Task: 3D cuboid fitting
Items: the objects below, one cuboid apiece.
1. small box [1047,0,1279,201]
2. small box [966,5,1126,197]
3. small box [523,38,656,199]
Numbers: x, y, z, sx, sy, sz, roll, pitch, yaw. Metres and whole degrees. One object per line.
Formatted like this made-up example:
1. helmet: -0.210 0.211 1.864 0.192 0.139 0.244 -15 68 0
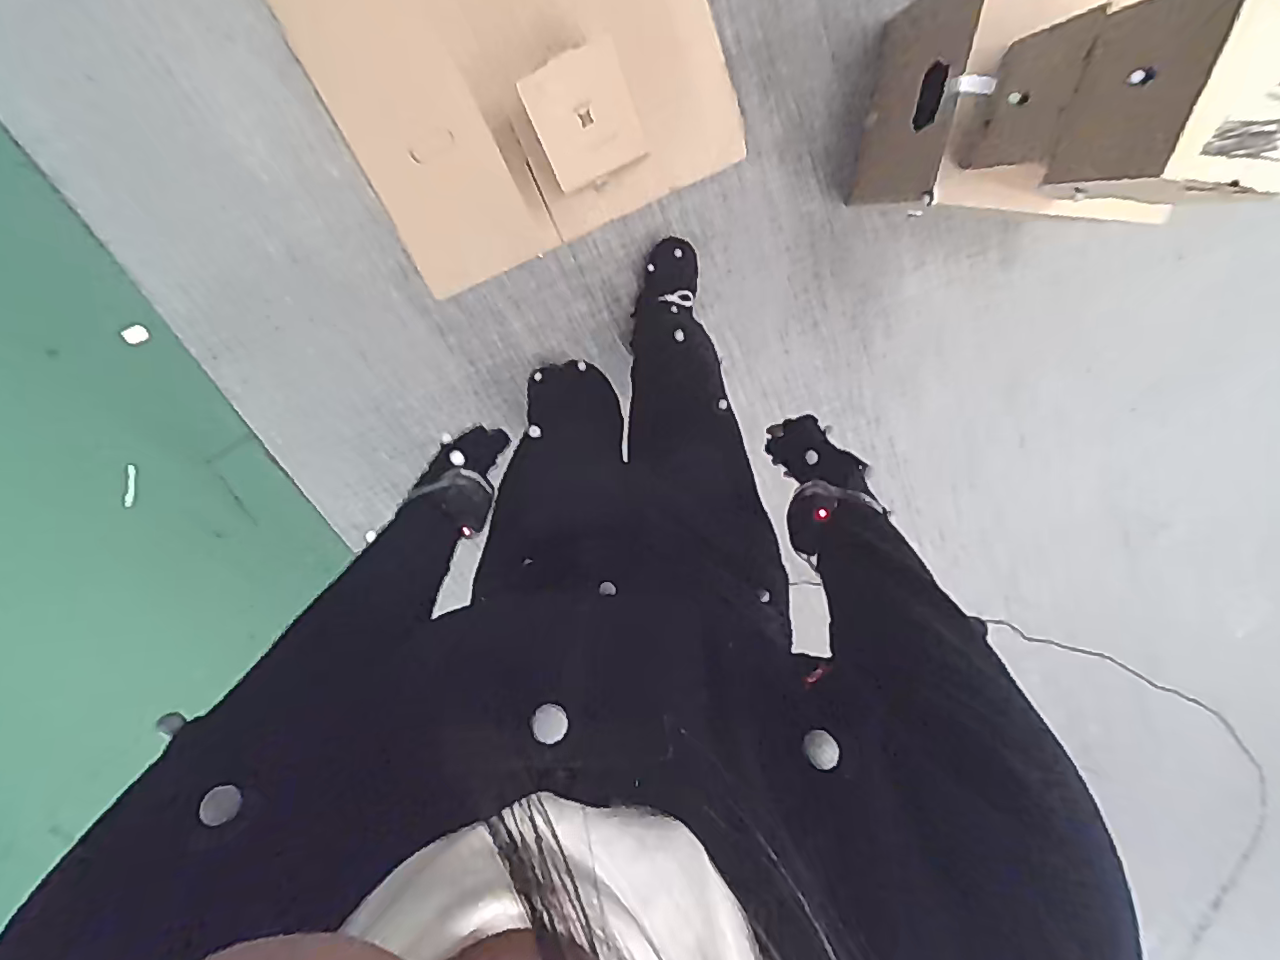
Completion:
1. small box: 0.595 -0.407 0.586 0.168 0.176 0.179 2 117 -4
2. small box: 0.590 -0.491 0.730 0.179 0.176 0.168 7 113 -7
3. small box: -0.083 -0.619 0.954 0.168 0.176 0.179 -23 115 10
